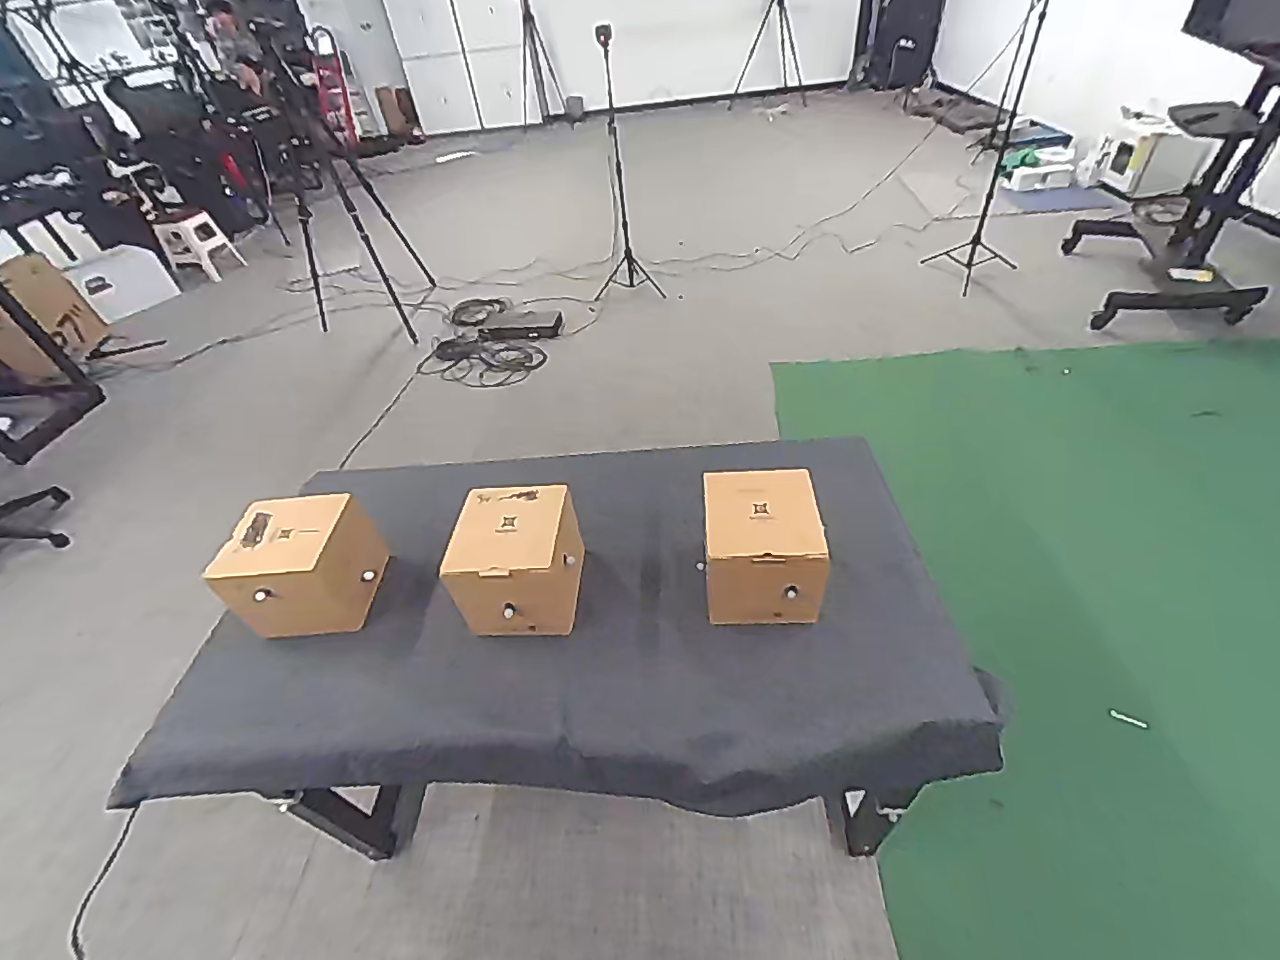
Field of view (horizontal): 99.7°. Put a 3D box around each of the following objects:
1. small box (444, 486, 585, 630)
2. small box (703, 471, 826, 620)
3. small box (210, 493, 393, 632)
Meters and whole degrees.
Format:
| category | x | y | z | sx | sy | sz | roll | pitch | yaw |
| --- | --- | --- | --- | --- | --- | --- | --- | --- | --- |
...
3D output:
| category | x | y | z | sx | sy | sz | roll | pitch | yaw |
| --- | --- | --- | --- | --- | --- | --- | --- | --- | --- |
| small box | -0.190 | 0.131 | 0.884 | 0.168 | 0.176 | 0.179 | -2 | 43 | 6 |
| small box | 0.187 | 0.107 | 0.856 | 0.168 | 0.176 | 0.179 | -2 | 42 | 5 |
| small box | -0.559 | 0.144 | 0.921 | 0.179 | 0.176 | 0.168 | -5 | 43 | 2 |
